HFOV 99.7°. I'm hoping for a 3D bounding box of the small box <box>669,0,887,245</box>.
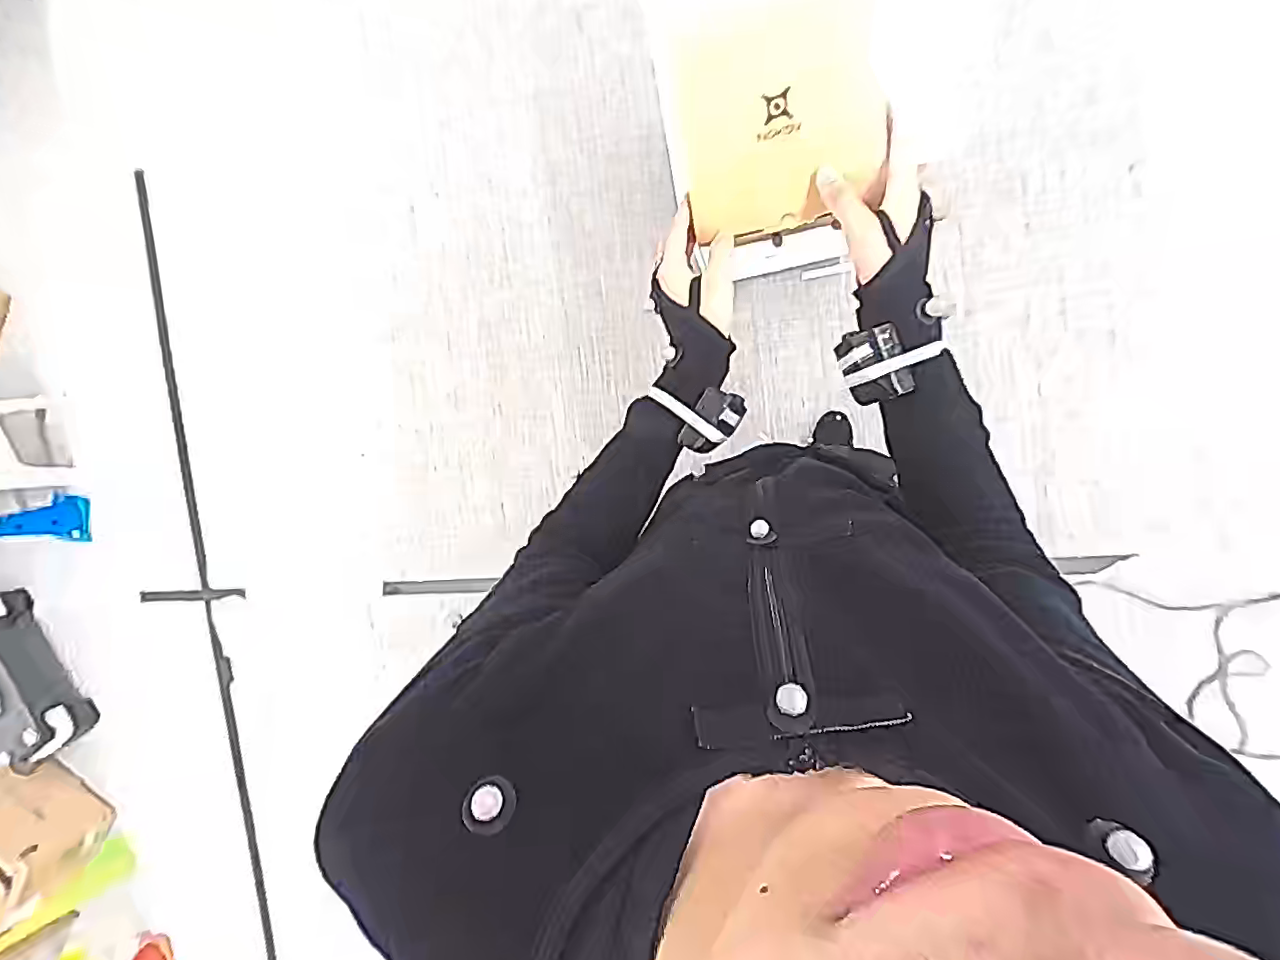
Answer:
[{"bbox_3d":[0.133,-0.336,0.522,0.168,0.176,0.179,-6,111,17],"label":"small box"}]
